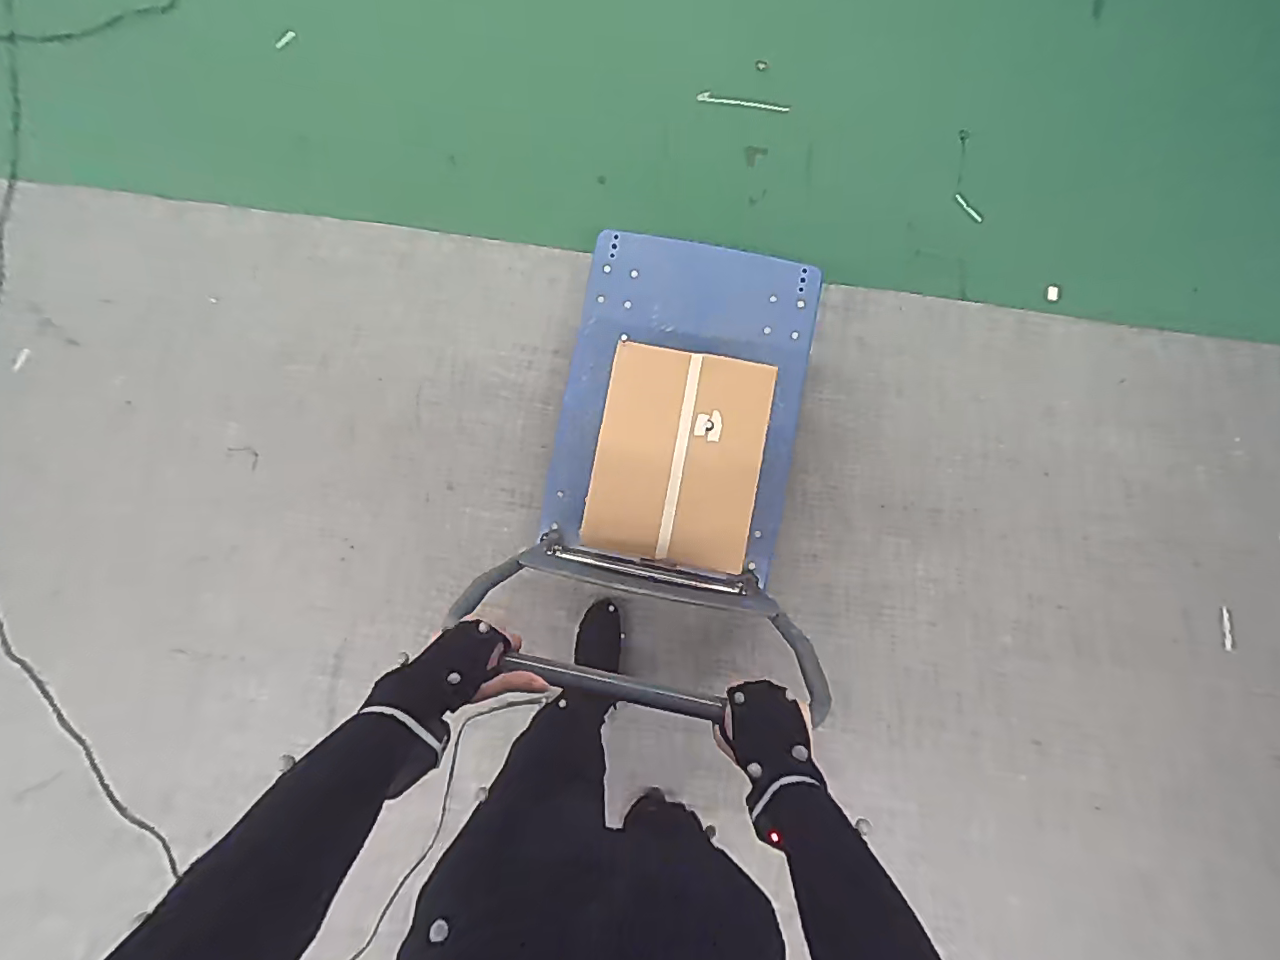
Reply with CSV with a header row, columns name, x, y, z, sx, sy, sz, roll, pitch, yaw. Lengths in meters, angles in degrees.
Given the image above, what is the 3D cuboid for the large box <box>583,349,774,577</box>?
name,x,y,z,sx,sy,sz,roll,pitch,yaw
large box,0.081,-0.024,1.176,0.320,0.320,0.408,11,86,2
